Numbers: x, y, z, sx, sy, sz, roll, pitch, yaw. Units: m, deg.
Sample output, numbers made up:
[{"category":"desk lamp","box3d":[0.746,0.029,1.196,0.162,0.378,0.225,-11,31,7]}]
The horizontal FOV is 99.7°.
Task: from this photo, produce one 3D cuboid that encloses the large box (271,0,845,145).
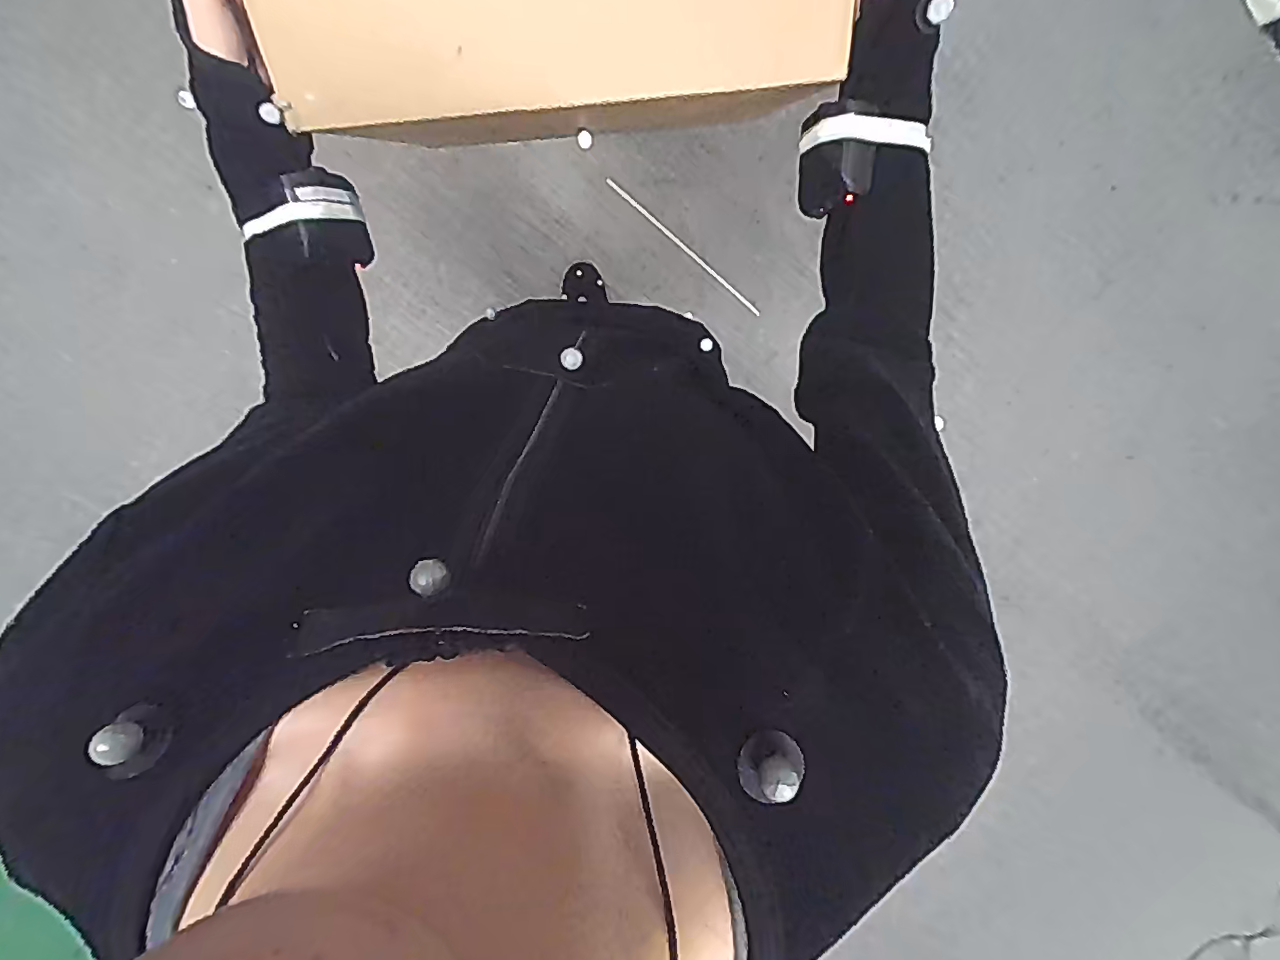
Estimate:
[{"category":"large box","box3d":[-0.065,-0.487,0.458,0.408,0.320,0.320,-5,119,2]}]
